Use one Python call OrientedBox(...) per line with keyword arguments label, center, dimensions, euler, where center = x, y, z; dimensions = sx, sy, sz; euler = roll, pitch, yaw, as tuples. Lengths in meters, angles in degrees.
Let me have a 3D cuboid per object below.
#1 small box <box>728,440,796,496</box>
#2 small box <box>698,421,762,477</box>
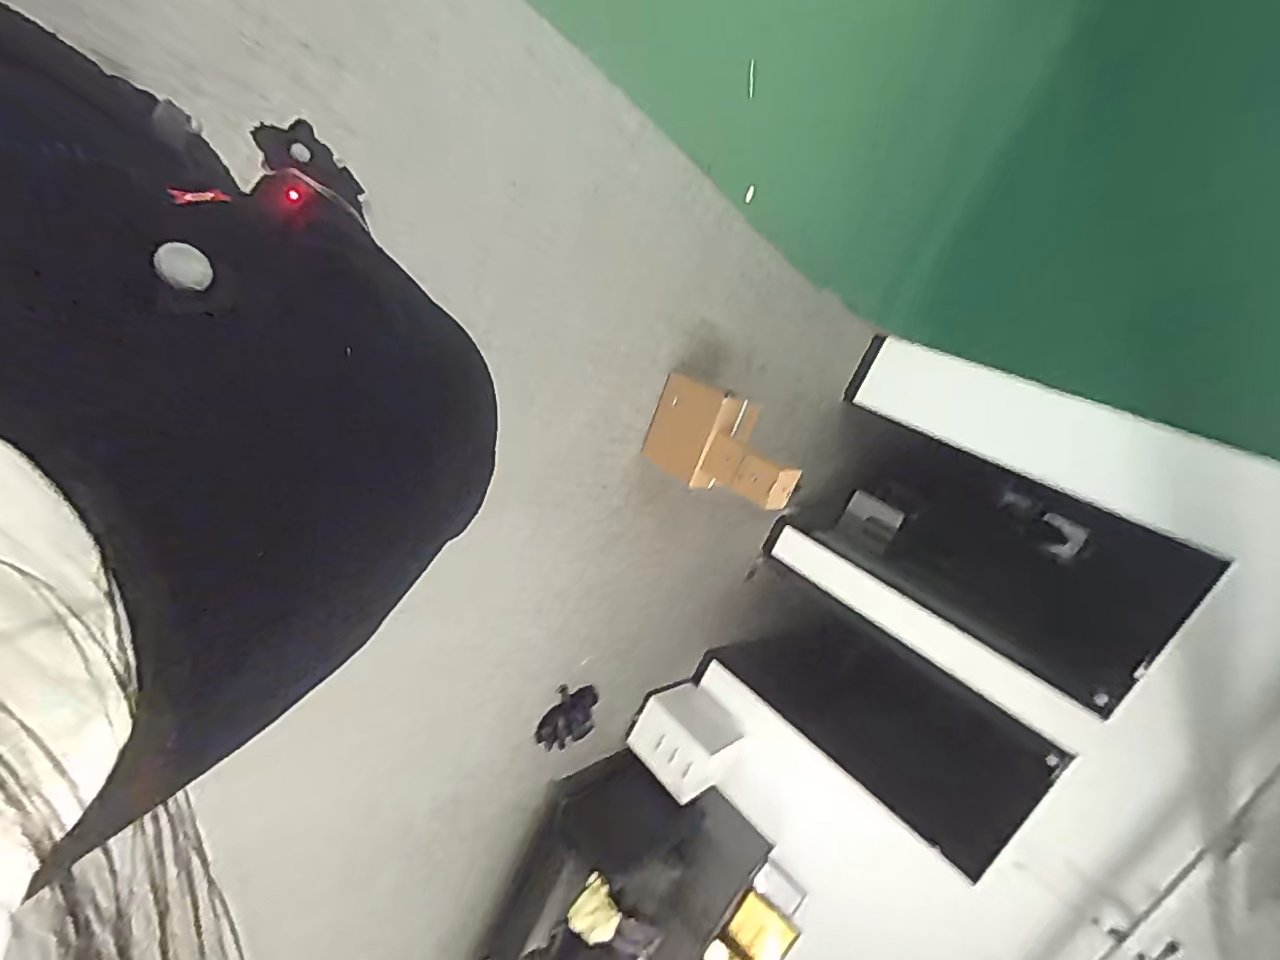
OrientedBox(label="small box", center=(0.475, -0.050, 2.129), dimensions=(0.179, 0.176, 0.168), euler=(0, 118, -49))
OrientedBox(label="small box", center=(0.364, -0.125, 2.222), dimensions=(0.168, 0.176, 0.179), euler=(3, 115, -51))
